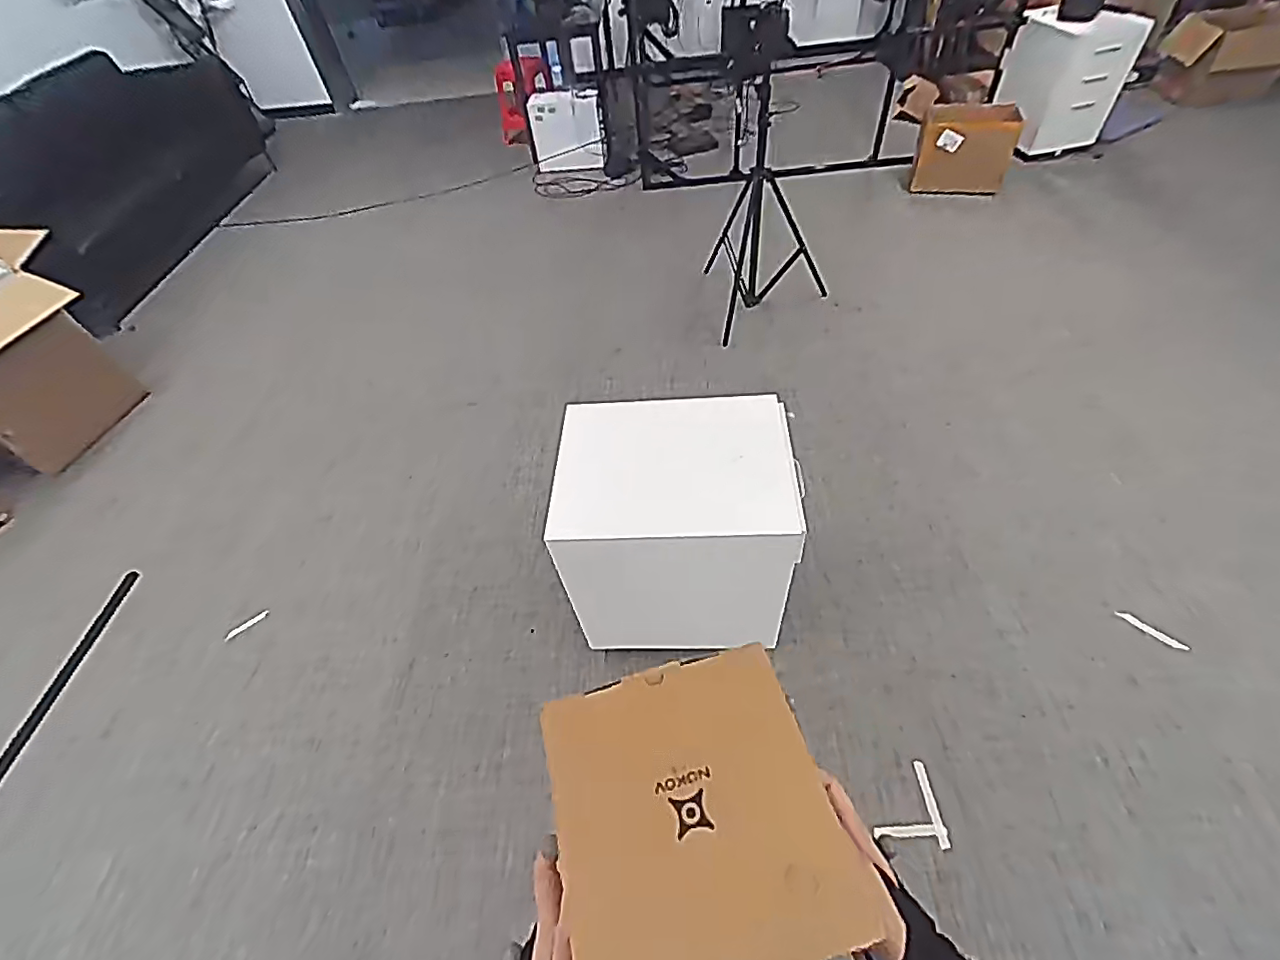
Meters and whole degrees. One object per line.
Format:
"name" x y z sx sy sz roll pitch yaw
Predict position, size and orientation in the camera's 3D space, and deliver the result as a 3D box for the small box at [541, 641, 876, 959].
"small box" 0.038 0.252 0.390 0.168 0.176 0.179 -15 46 -6
